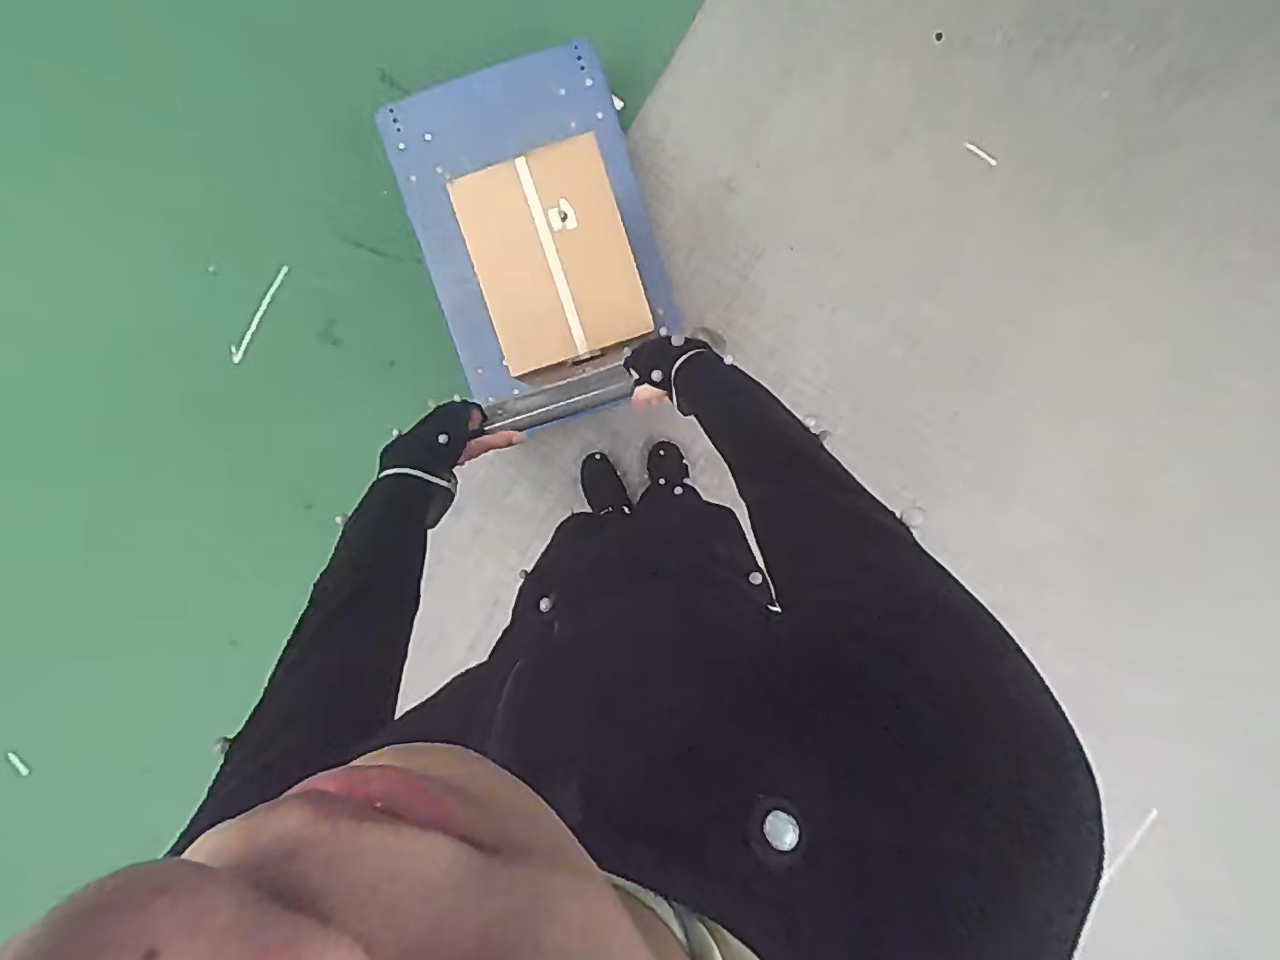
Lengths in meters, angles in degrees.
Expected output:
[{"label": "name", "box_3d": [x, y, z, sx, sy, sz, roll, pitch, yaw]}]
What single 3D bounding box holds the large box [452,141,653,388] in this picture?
[{"label": "large box", "box_3d": [-0.174, -0.462, 1.254, 0.320, 0.320, 0.408, -17, 94, 1]}]
